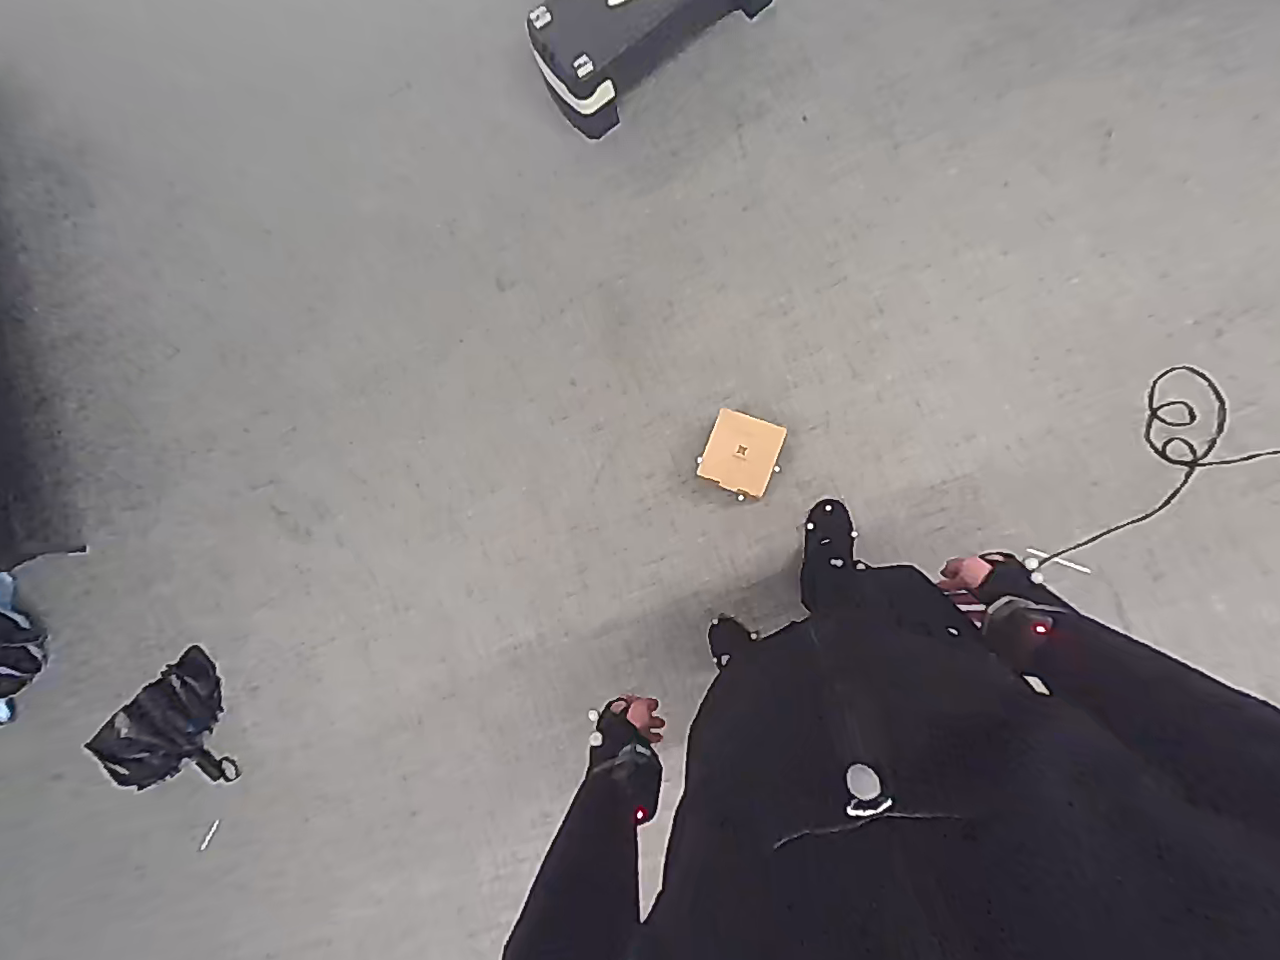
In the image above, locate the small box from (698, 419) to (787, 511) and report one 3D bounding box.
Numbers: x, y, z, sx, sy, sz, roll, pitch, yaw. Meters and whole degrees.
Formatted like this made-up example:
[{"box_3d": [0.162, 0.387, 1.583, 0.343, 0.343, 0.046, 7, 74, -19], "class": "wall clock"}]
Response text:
[{"box_3d": [0.256, -0.031, 1.355, 0.168, 0.176, 0.179, 20, 86, 11], "class": "small box"}]
